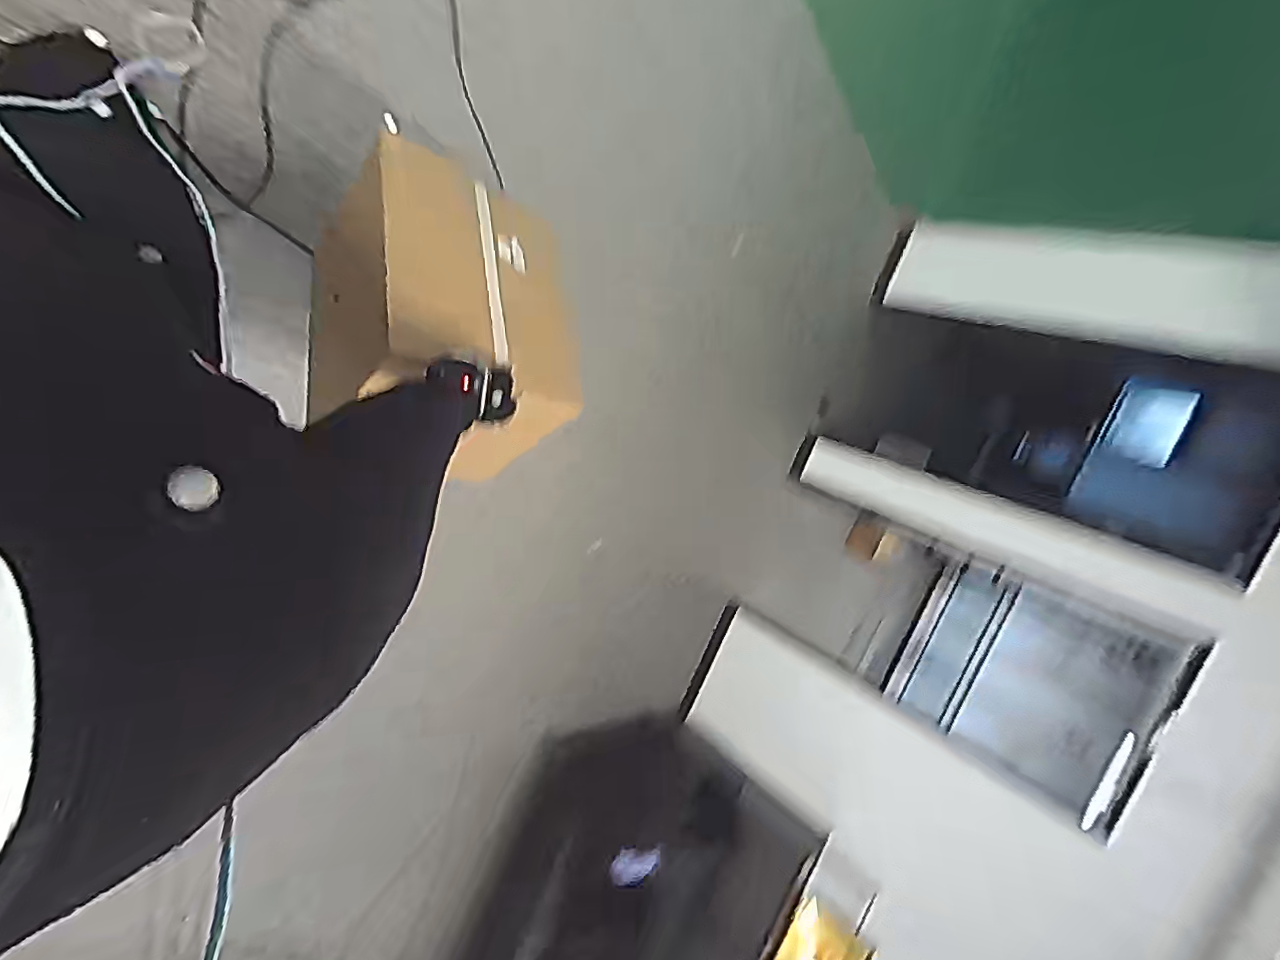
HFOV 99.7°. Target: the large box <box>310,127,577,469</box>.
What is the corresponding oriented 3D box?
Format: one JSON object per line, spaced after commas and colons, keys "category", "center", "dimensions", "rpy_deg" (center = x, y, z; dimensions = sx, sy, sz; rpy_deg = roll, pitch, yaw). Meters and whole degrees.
{"category": "large box", "center": [-0.352, -0.270, 0.931], "dimensions": [0.320, 0.320, 0.408], "rpy_deg": [10, 59, -46]}
